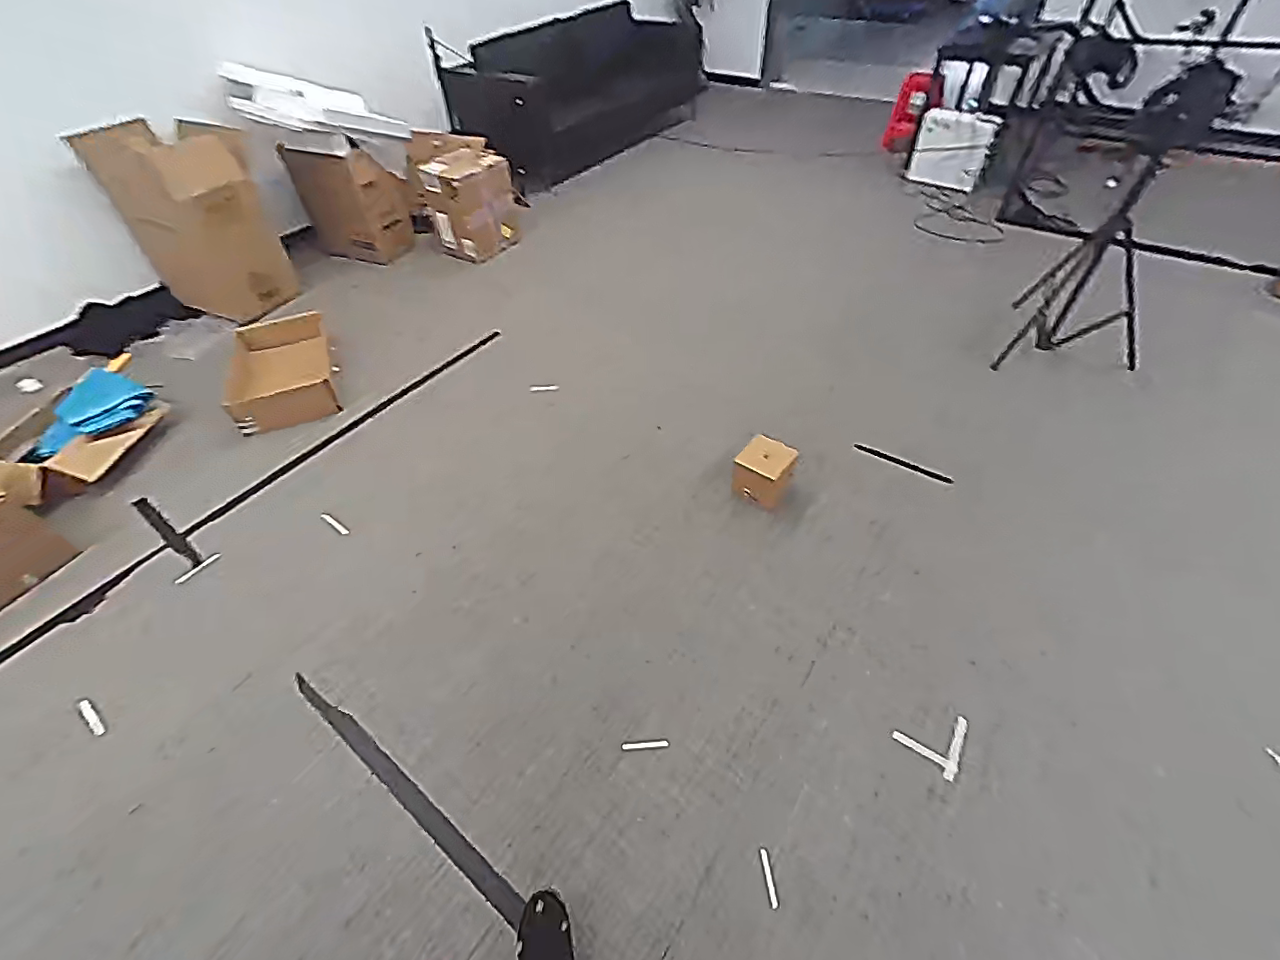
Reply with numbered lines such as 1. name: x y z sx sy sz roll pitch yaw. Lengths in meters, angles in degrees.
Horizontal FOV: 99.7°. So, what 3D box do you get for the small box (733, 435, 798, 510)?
1. small box: 0.444 -0.027 1.949 0.168 0.176 0.179 28 56 28
